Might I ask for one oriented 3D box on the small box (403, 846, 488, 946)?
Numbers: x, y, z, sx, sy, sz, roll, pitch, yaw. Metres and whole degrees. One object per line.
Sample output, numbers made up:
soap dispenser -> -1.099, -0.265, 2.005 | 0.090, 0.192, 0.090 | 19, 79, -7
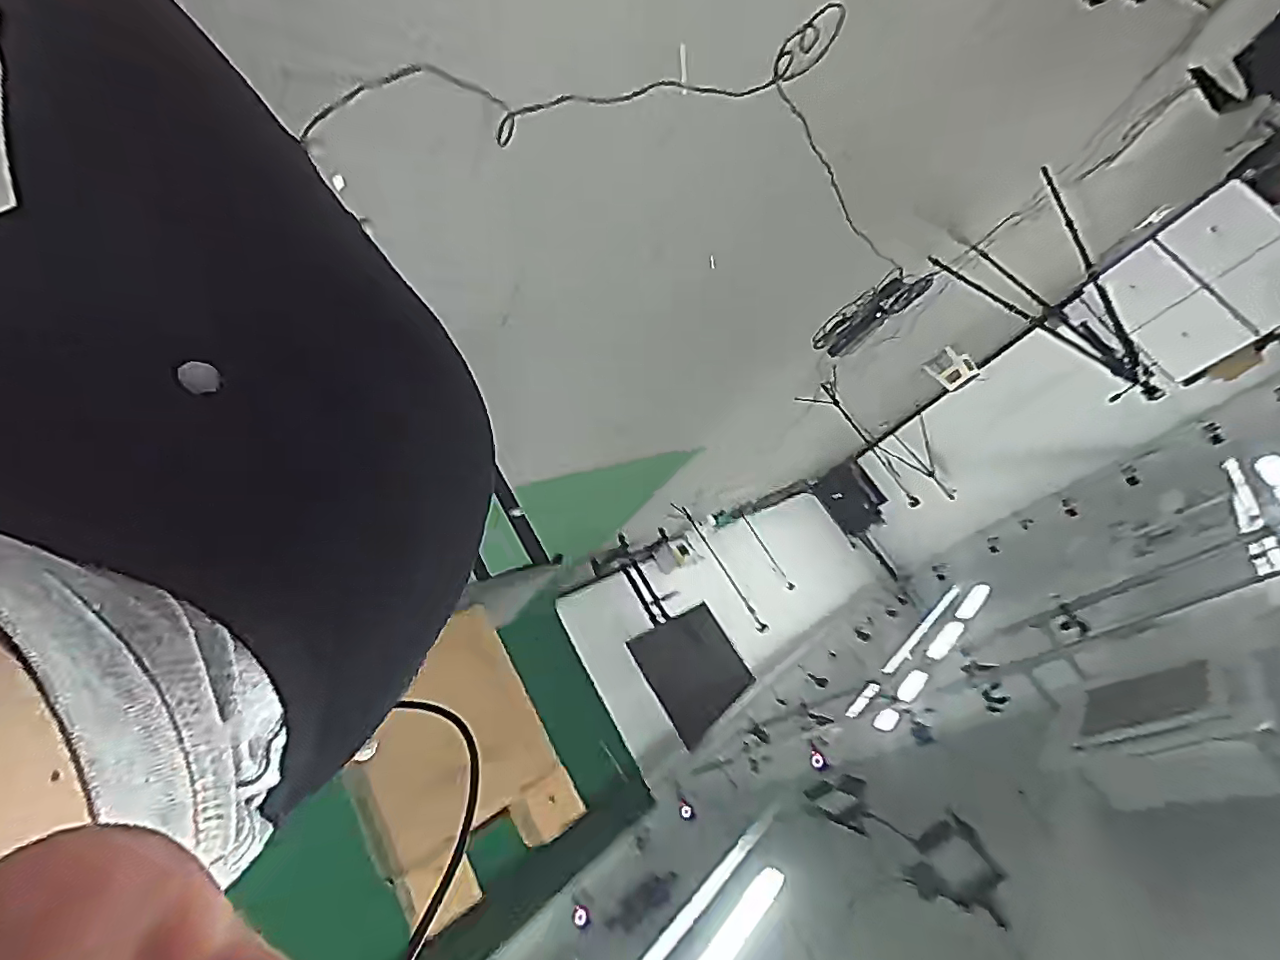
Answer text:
small box -> -0.568, 1.196, 1.565 | 0.168, 0.176, 0.179 | -16, 156, -41

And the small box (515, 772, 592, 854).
small box -> -0.296, 1.114, 1.817 | 0.168, 0.176, 0.179 | -17, 157, -42
